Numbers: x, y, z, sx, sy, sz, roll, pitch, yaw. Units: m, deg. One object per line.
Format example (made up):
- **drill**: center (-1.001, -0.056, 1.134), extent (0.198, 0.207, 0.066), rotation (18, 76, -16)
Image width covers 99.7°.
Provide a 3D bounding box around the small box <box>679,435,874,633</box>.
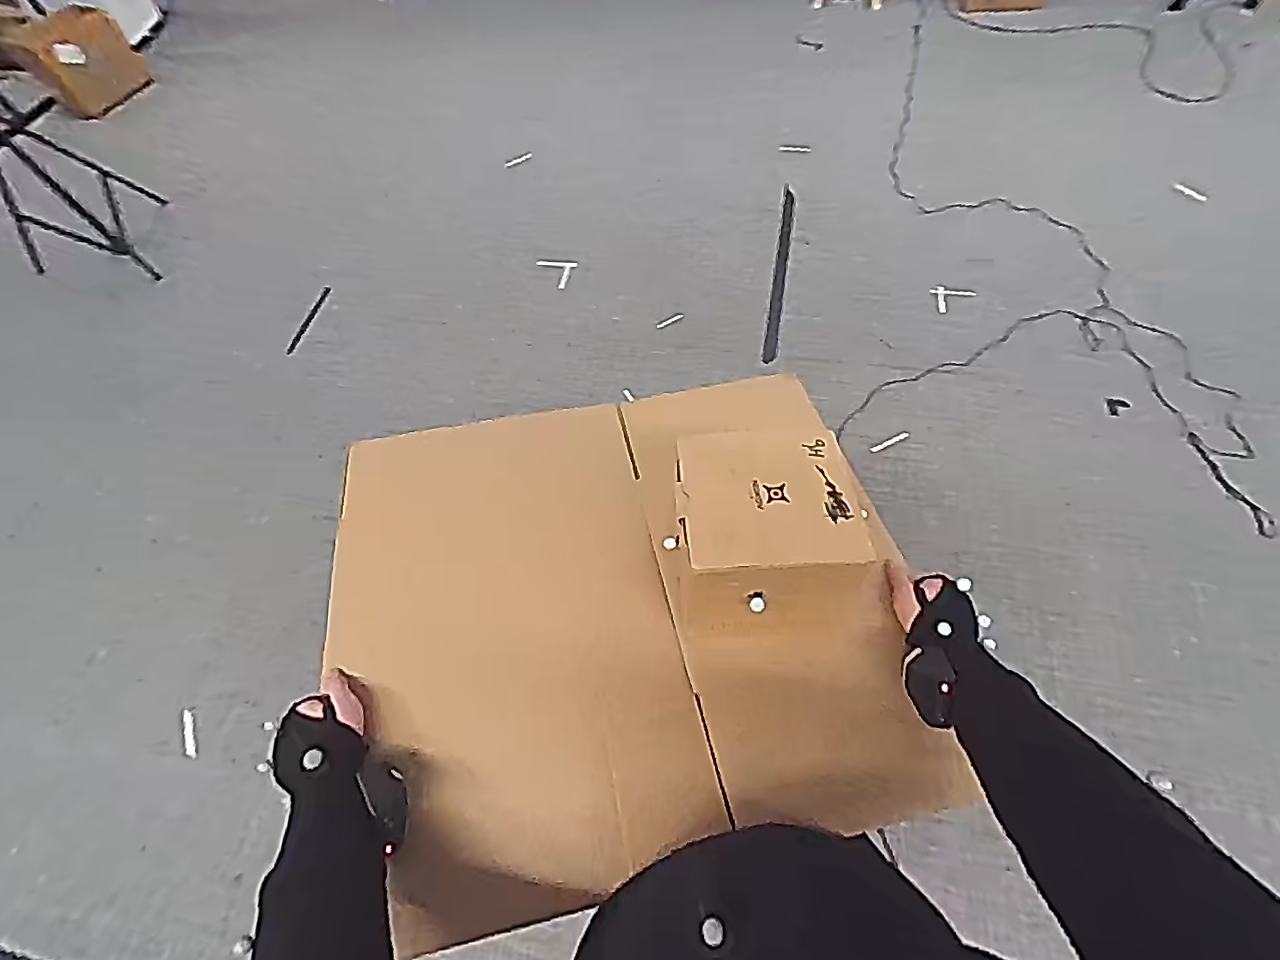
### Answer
- **small box**: center (0.137, 0.067, 0.618), extent (0.179, 0.176, 0.168), rotation (-3, 54, 1)
